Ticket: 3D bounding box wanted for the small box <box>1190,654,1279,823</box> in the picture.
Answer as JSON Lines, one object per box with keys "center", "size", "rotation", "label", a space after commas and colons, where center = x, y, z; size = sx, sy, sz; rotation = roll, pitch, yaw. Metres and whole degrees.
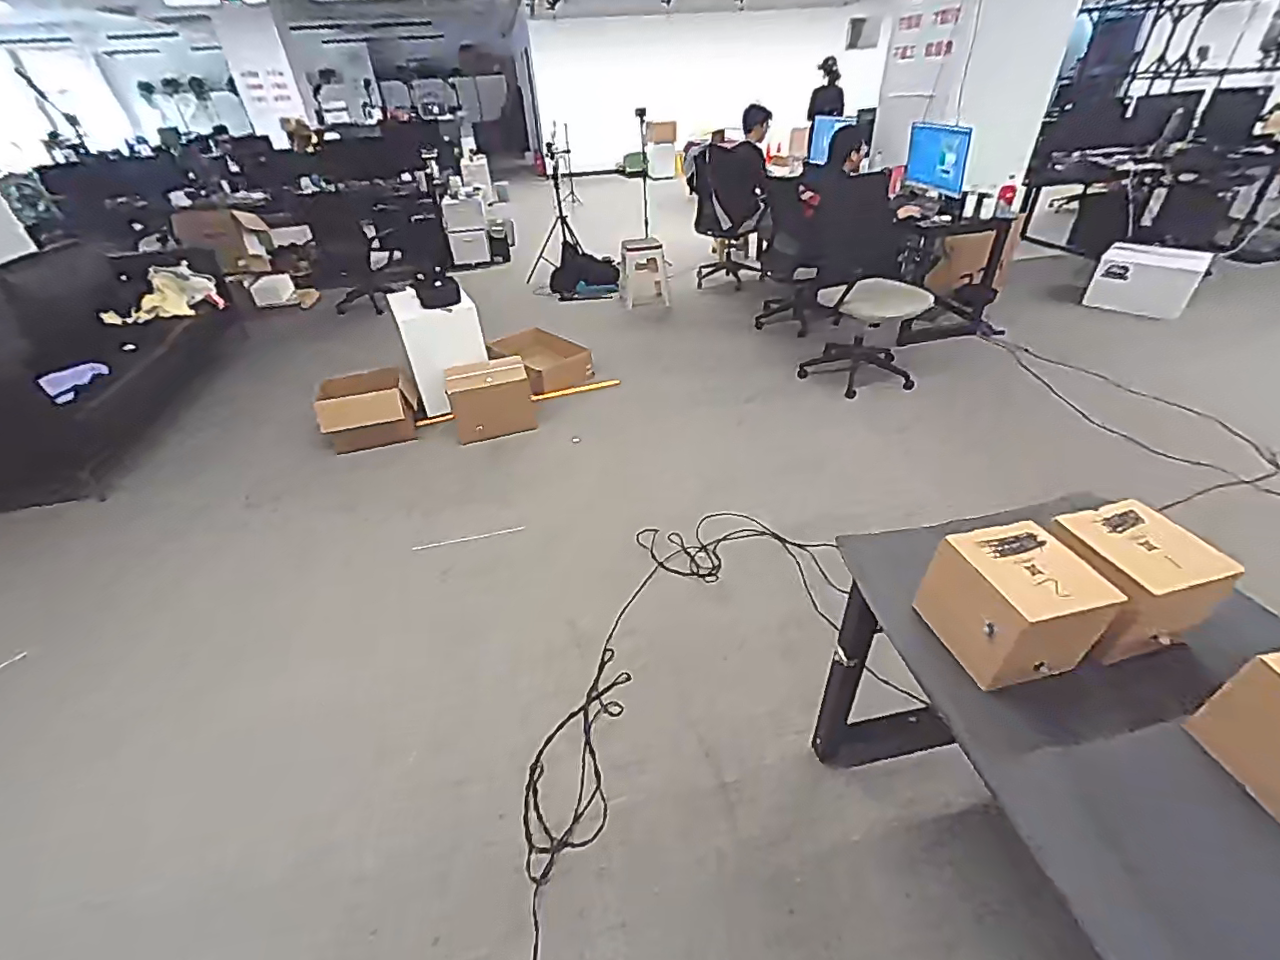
{"center": [0.847, 0.322, 0.646], "size": [0.168, 0.176, 0.179], "rotation": [-7, 37, -5], "label": "small box"}
